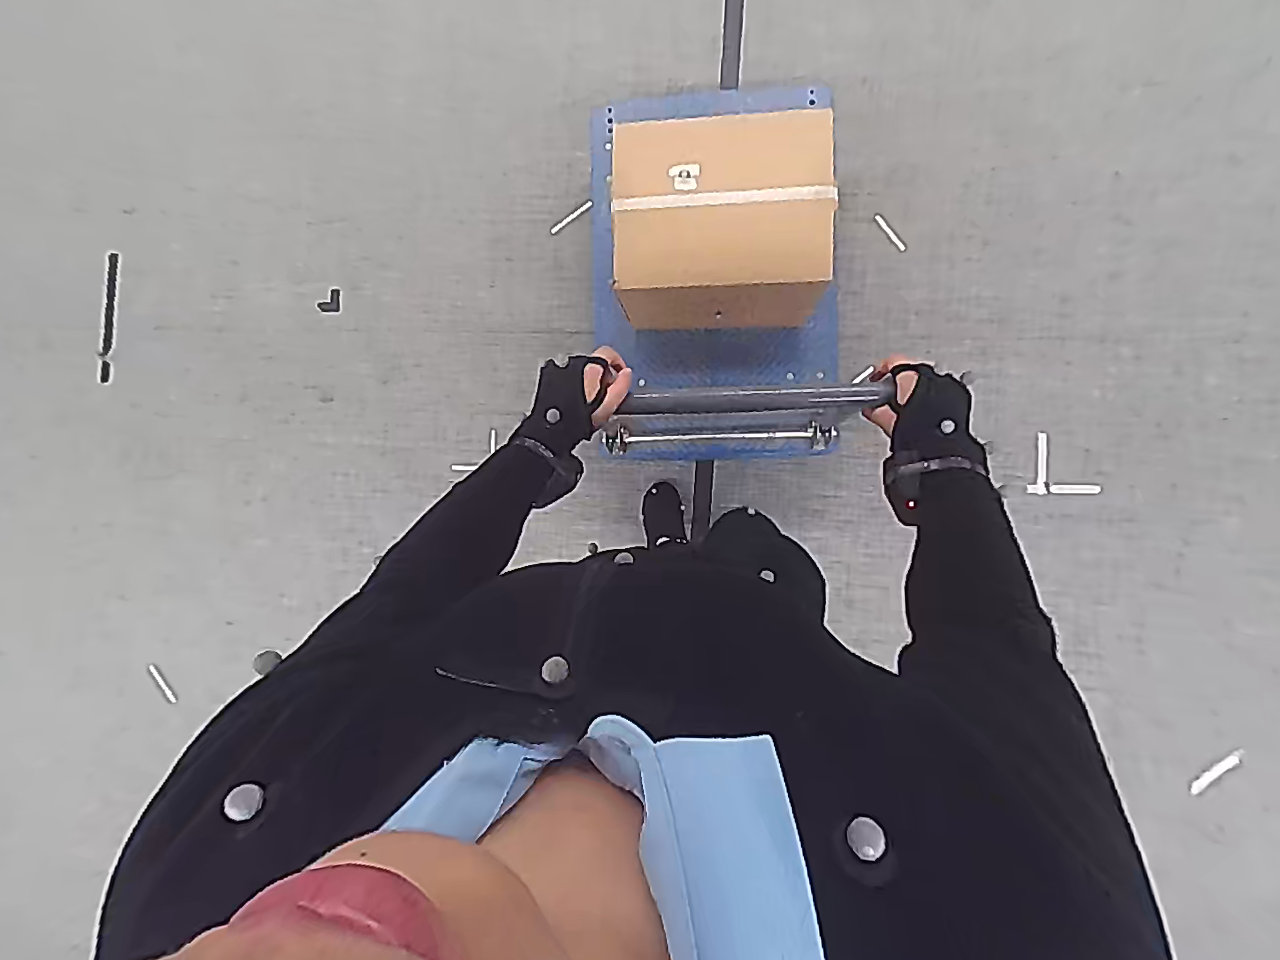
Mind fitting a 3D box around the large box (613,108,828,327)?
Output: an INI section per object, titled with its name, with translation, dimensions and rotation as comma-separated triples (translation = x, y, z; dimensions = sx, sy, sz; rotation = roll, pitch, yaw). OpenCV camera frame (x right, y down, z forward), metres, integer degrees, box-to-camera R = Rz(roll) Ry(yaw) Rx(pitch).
[large box]
translation = 0.168, -0.530, 1.167
dimensions = 0.408, 0.320, 0.320
rotation = -1, 90, 8
